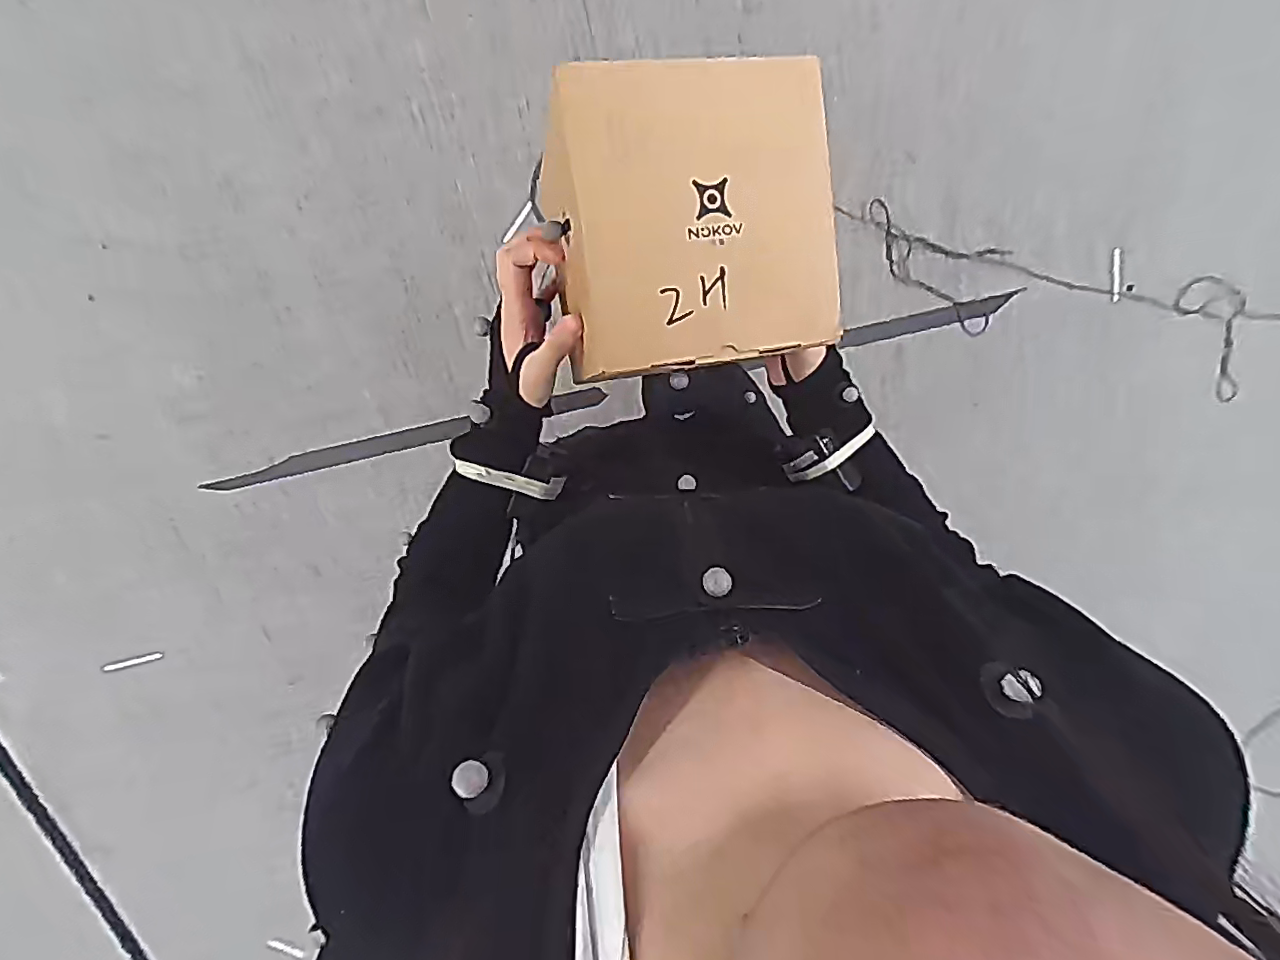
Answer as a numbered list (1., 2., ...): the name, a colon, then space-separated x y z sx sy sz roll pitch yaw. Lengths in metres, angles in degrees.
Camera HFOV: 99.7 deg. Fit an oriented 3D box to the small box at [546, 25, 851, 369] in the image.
1. small box: 0.028 -0.184 0.398 0.168 0.176 0.179 -11 100 -11
